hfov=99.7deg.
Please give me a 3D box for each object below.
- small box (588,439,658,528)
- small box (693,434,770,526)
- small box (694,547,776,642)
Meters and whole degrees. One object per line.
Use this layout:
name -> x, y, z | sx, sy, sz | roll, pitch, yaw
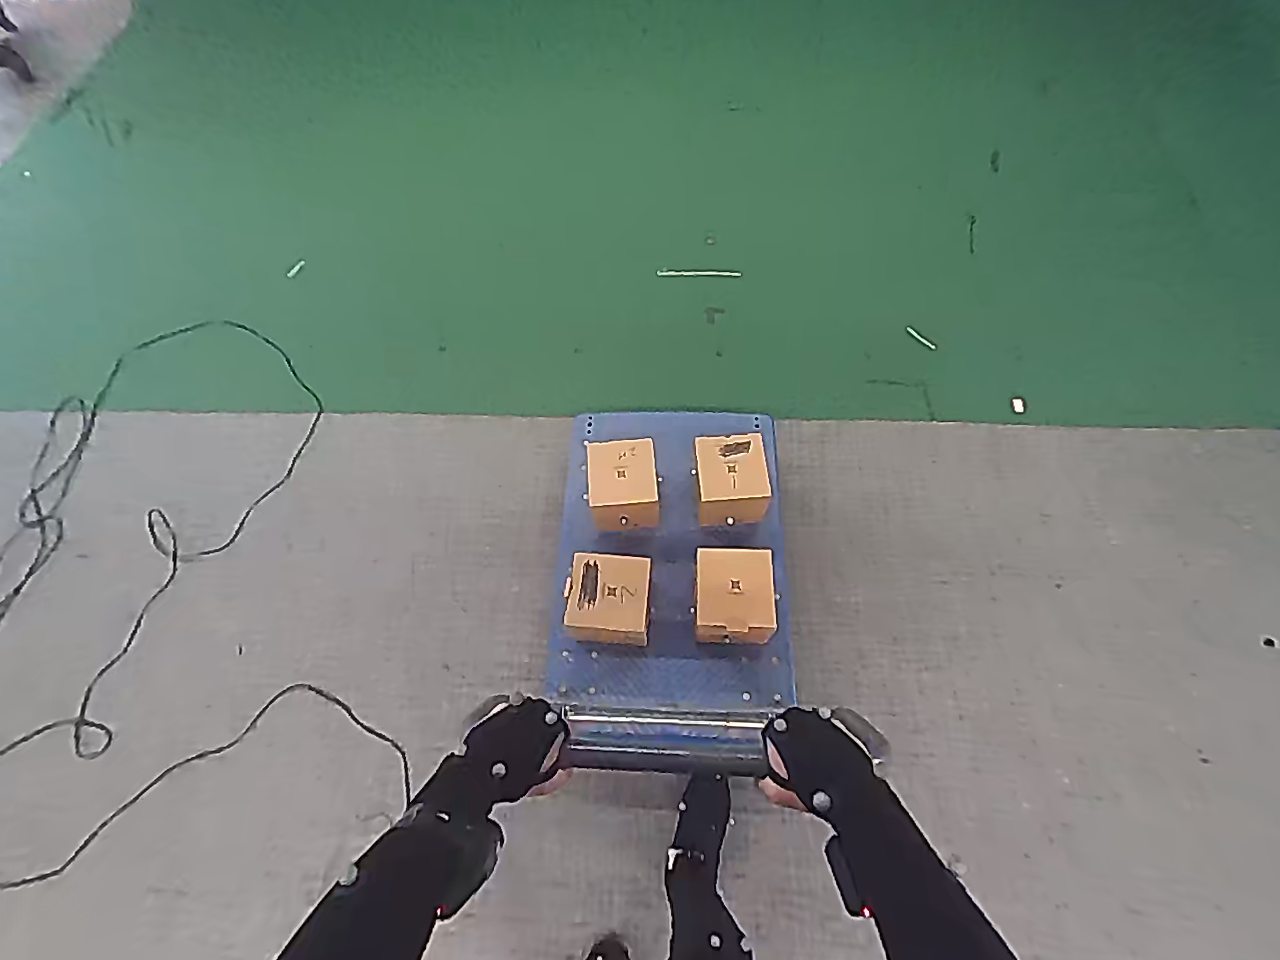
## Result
small box -> -0.041, 0.016, 1.379 | 0.168, 0.176, 0.179 | -4, 63, 0
small box -> 0.224, 0.003, 1.372 | 0.168, 0.176, 0.179 | -4, 64, 2
small box -> 0.210, 0.266, 1.243 | 0.168, 0.176, 0.179 | 1, 64, 3
